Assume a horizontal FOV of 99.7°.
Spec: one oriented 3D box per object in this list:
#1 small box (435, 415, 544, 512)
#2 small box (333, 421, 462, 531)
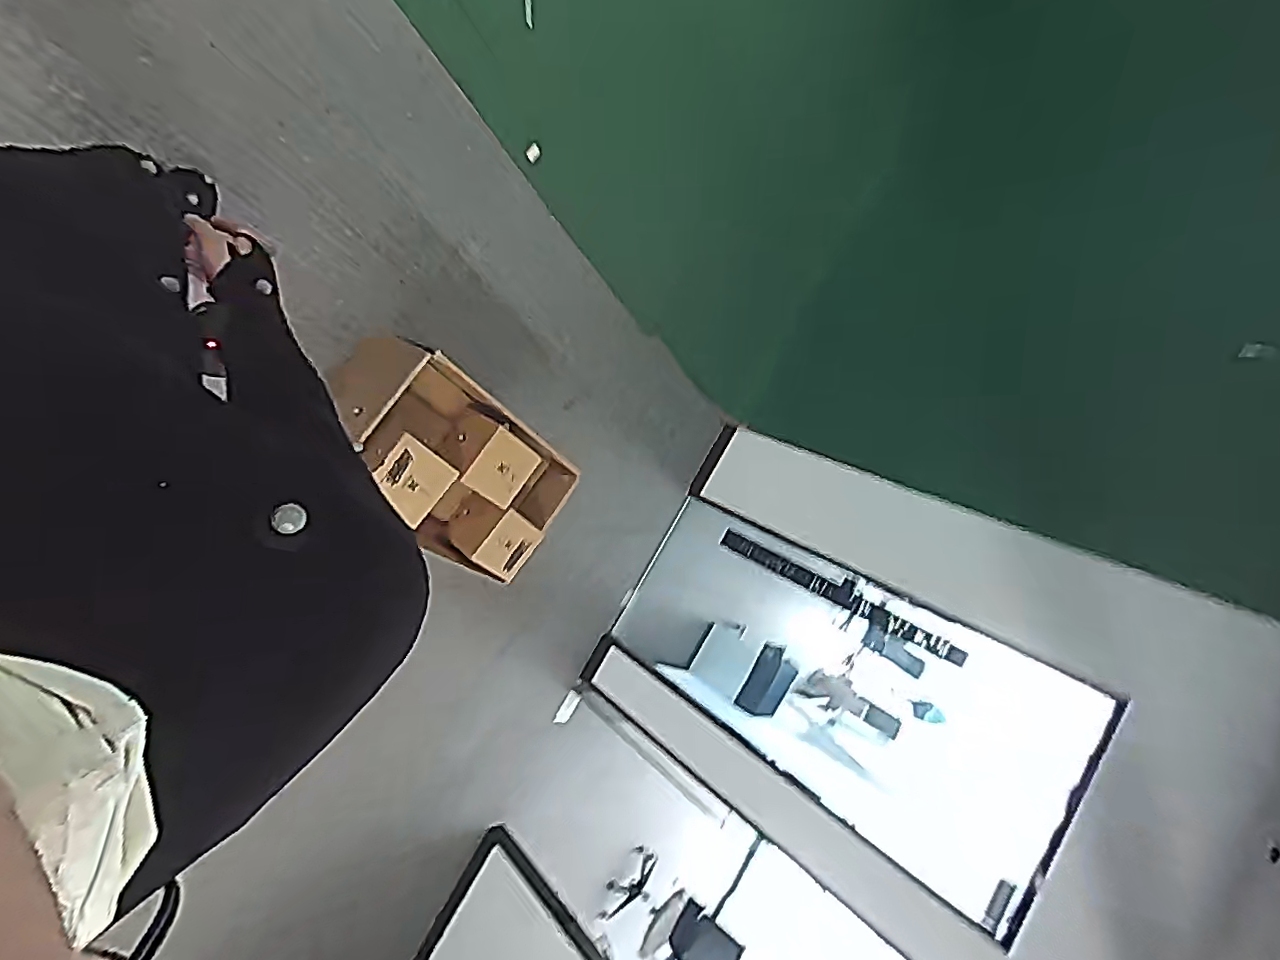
[{"bbox_3d":[-0.392,-0.049,1.394,0.168,0.176,0.179,-55,142,-9],"label":"small box"},{"bbox_3d":[-0.551,-0.016,1.225,0.168,0.176,0.179,-54,142,-12],"label":"small box"}]
